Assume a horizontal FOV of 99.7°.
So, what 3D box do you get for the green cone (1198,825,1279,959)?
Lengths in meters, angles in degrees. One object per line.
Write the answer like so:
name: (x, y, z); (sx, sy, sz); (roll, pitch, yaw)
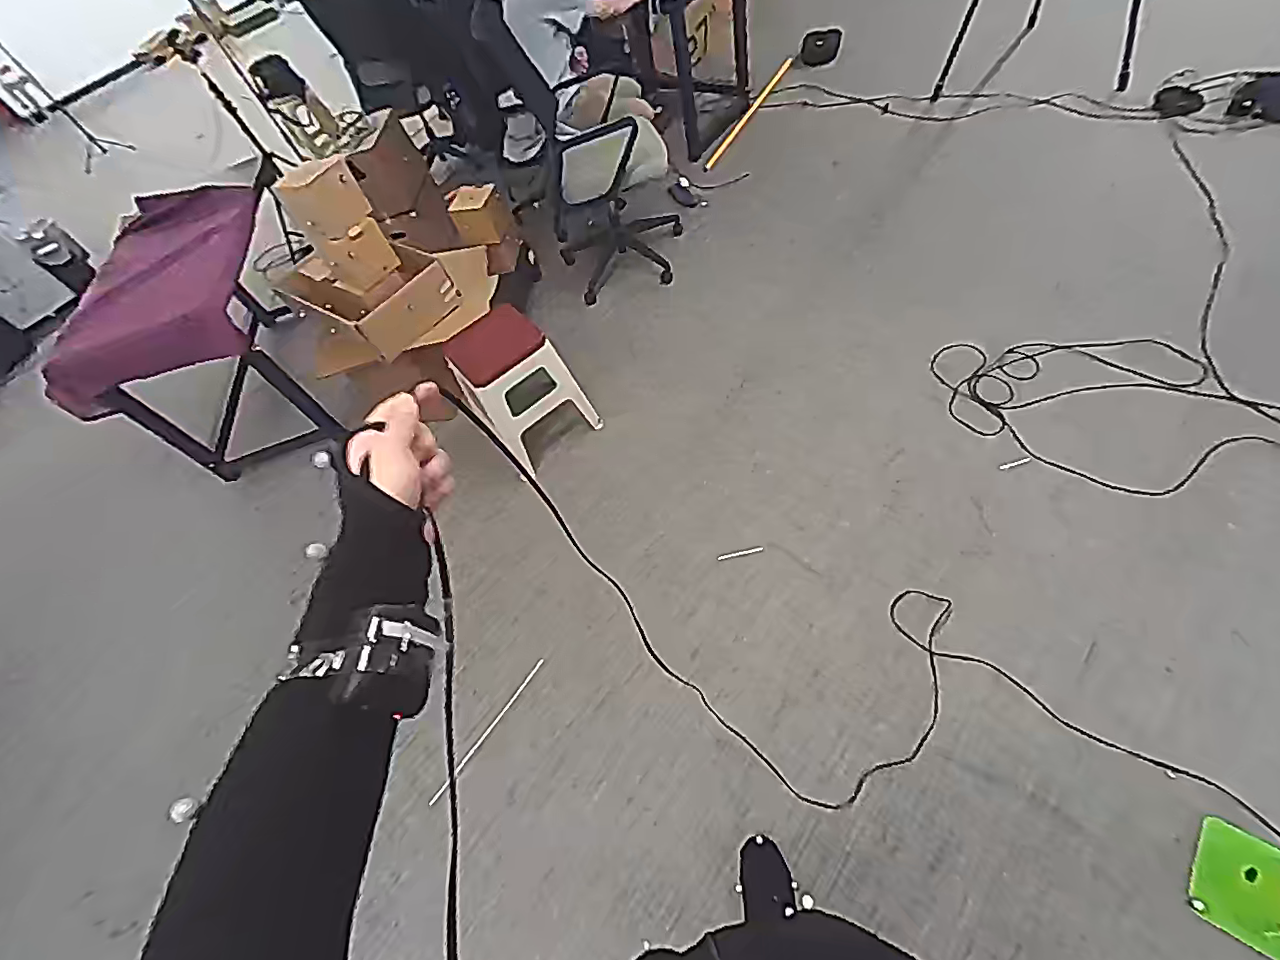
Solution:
green cone: (1.185, 0.724, 0.907); (0.200, 0.368, 0.202); (25, 65, 28)
